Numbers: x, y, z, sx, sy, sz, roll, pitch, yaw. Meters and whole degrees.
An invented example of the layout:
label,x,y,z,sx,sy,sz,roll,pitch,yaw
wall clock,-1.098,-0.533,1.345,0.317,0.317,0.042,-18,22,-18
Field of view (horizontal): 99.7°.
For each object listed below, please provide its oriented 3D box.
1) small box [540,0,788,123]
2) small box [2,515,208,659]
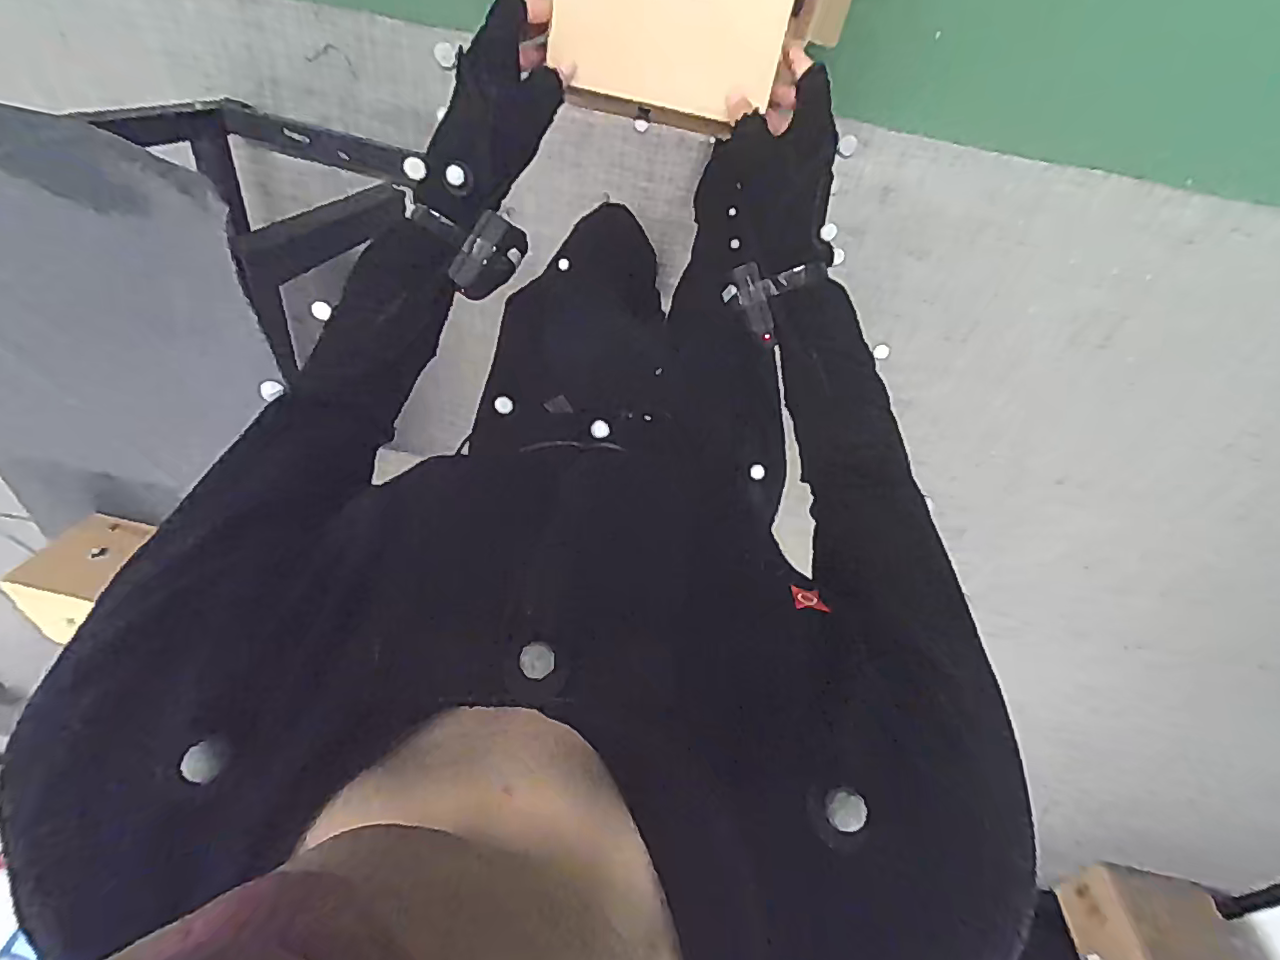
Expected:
label,x,y,z,sx,sy,sz,roll,pitch,yaw
small box,0.023,-0.408,0.444,0.179,0.176,0.168,9,121,-5
small box,-0.943,0.188,0.977,0.168,0.176,0.179,13,130,1
